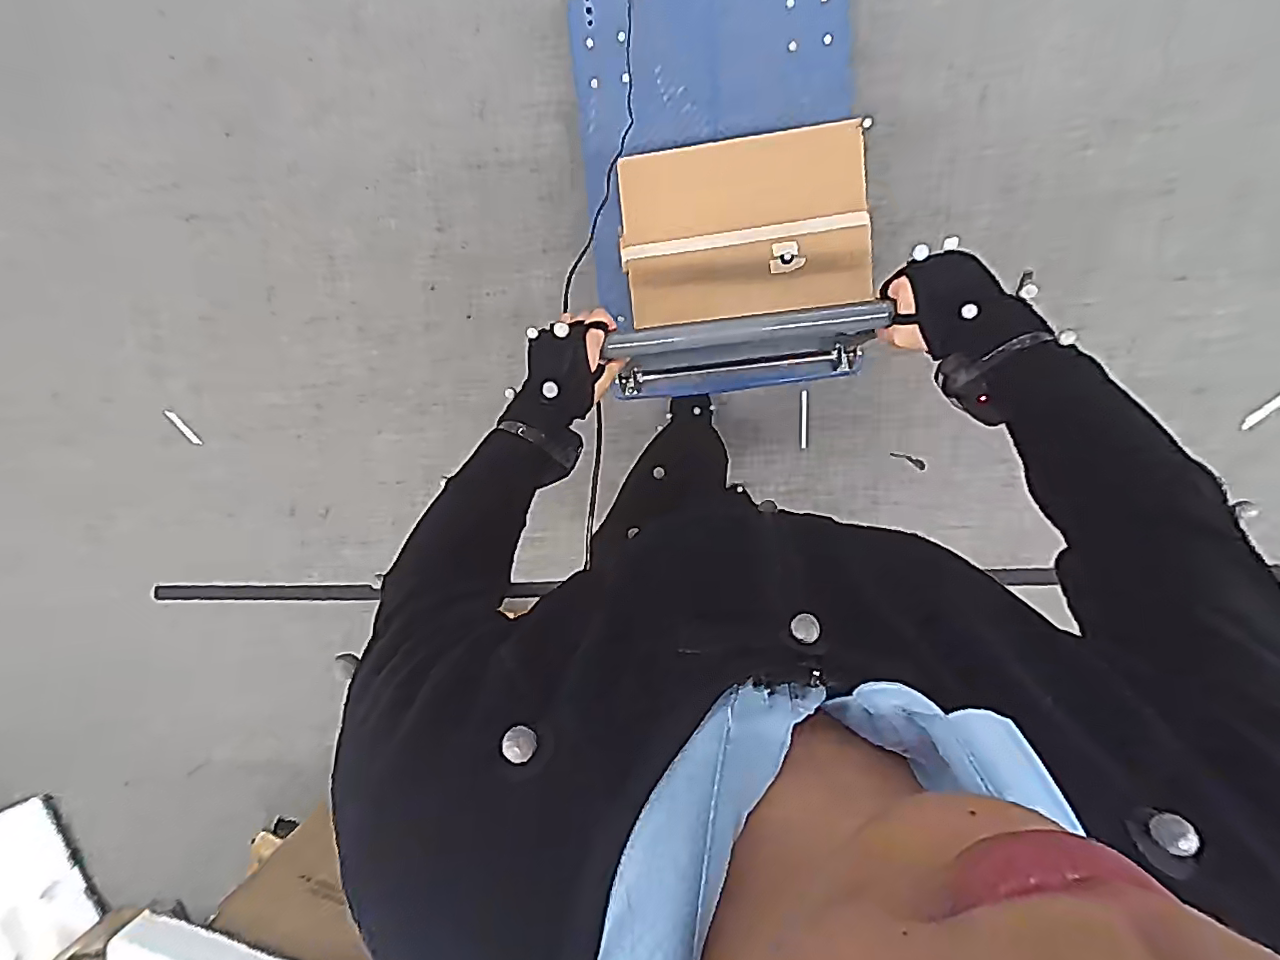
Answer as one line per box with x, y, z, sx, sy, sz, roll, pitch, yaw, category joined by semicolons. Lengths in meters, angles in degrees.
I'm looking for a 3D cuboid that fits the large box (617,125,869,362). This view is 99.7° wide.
0.186;-0.423;1.059;0.408;0.320;0.320;-5;98;6;large box
